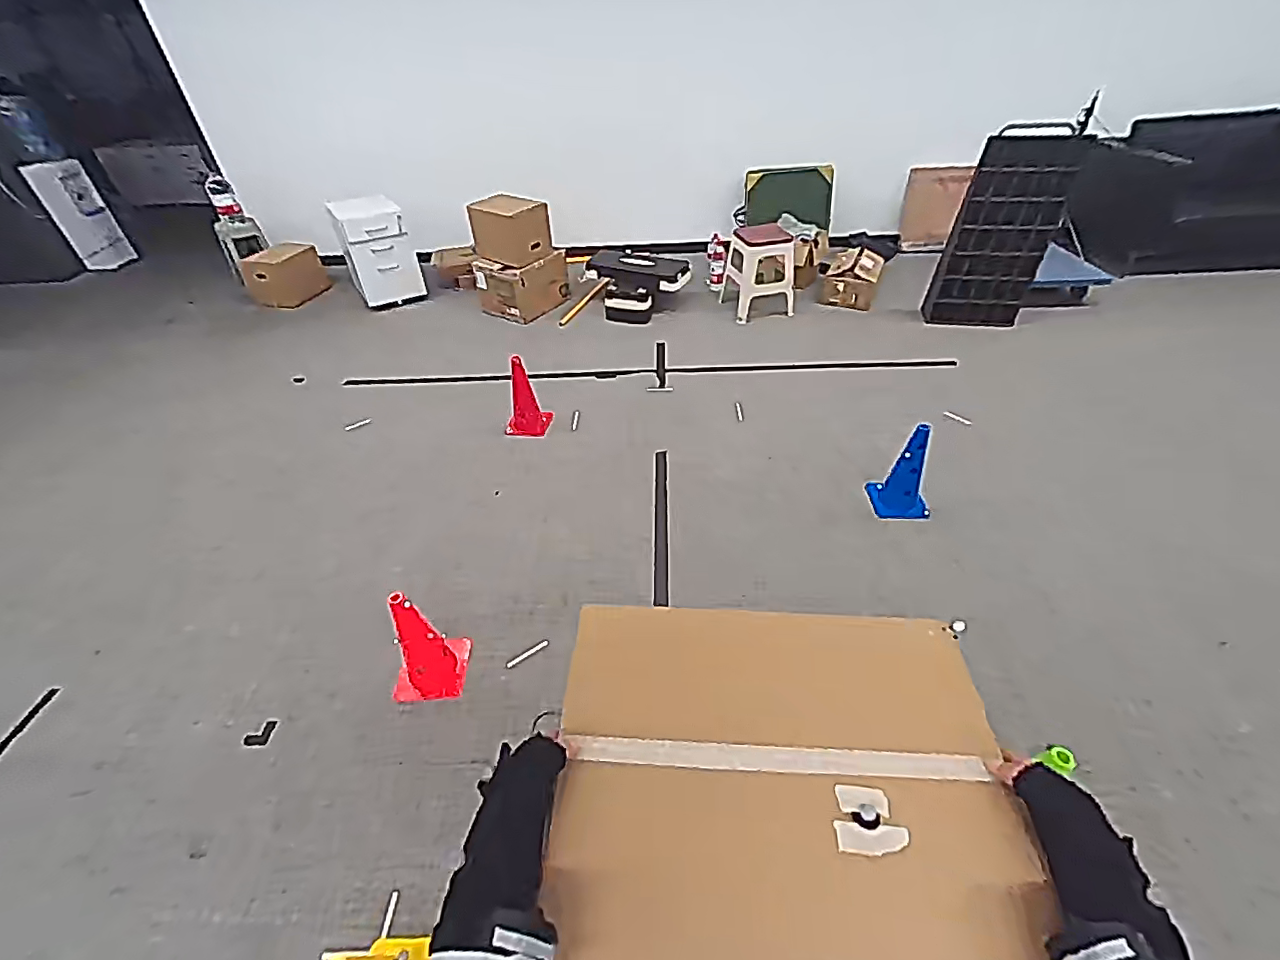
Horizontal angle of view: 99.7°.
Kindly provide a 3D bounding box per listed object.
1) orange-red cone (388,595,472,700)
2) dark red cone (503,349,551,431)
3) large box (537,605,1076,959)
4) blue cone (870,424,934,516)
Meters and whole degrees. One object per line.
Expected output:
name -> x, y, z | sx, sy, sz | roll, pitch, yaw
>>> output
orange-red cone -> -0.632, 0.448, 1.533 | 0.198, 0.360, 0.199 | -4, 42, 1
dark red cone -> -0.545, -0.419, 2.499 | 0.201, 0.394, 0.202 | 3, 41, 6
large box -> 0.126, 0.361, 0.601 | 0.408, 0.320, 0.320 | 2, 44, 3
blue cone -> 1.014, -0.048, 2.030 | 0.192, 0.380, 0.193 | 2, 41, 4
